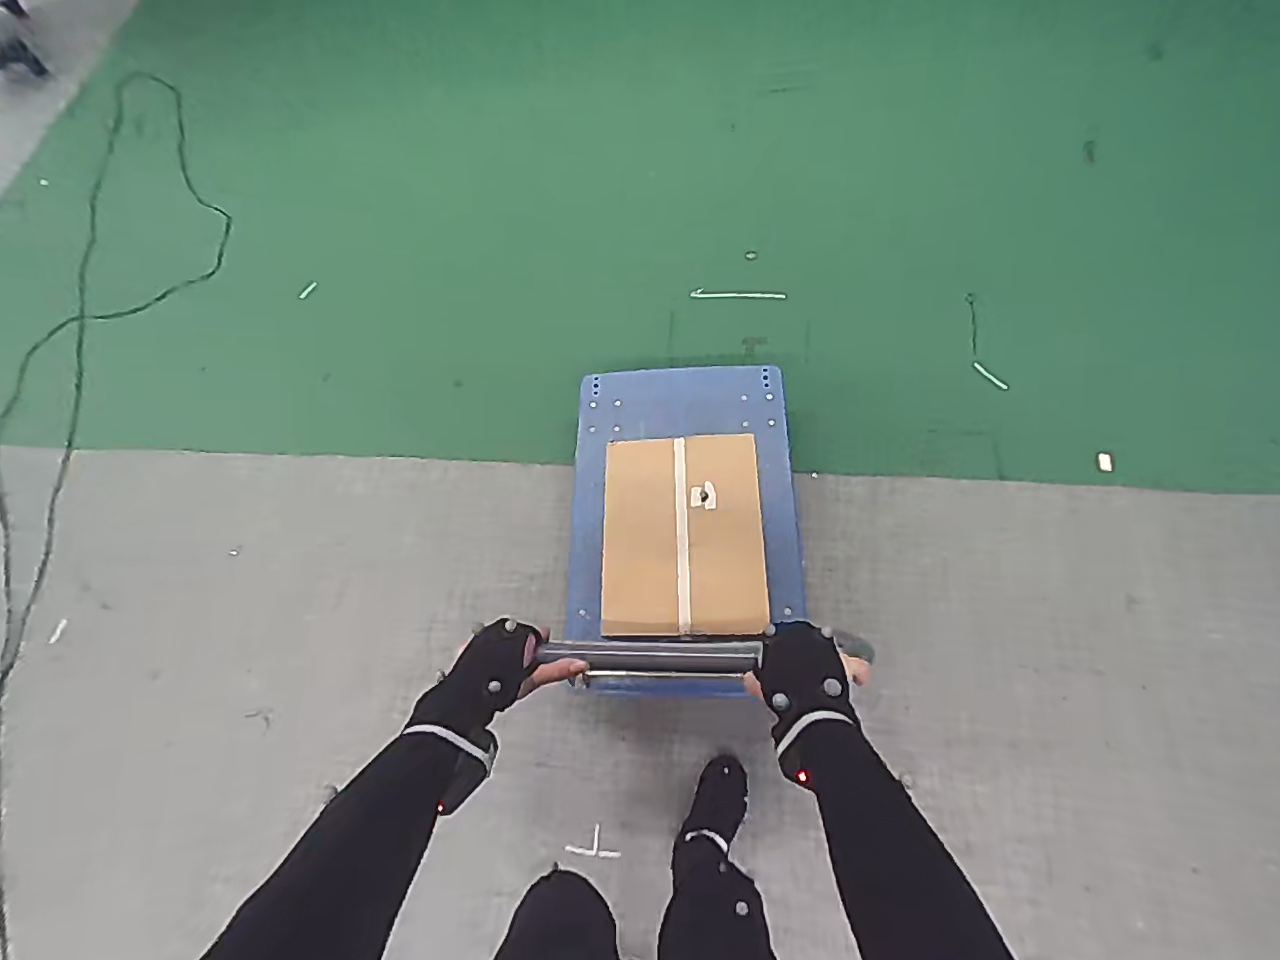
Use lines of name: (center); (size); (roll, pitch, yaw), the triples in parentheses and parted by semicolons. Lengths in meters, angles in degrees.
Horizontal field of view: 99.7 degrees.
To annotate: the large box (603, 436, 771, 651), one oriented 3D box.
large box: (0.104, 0.156, 1.201); (0.320, 0.320, 0.408); (-2, 67, 7)
